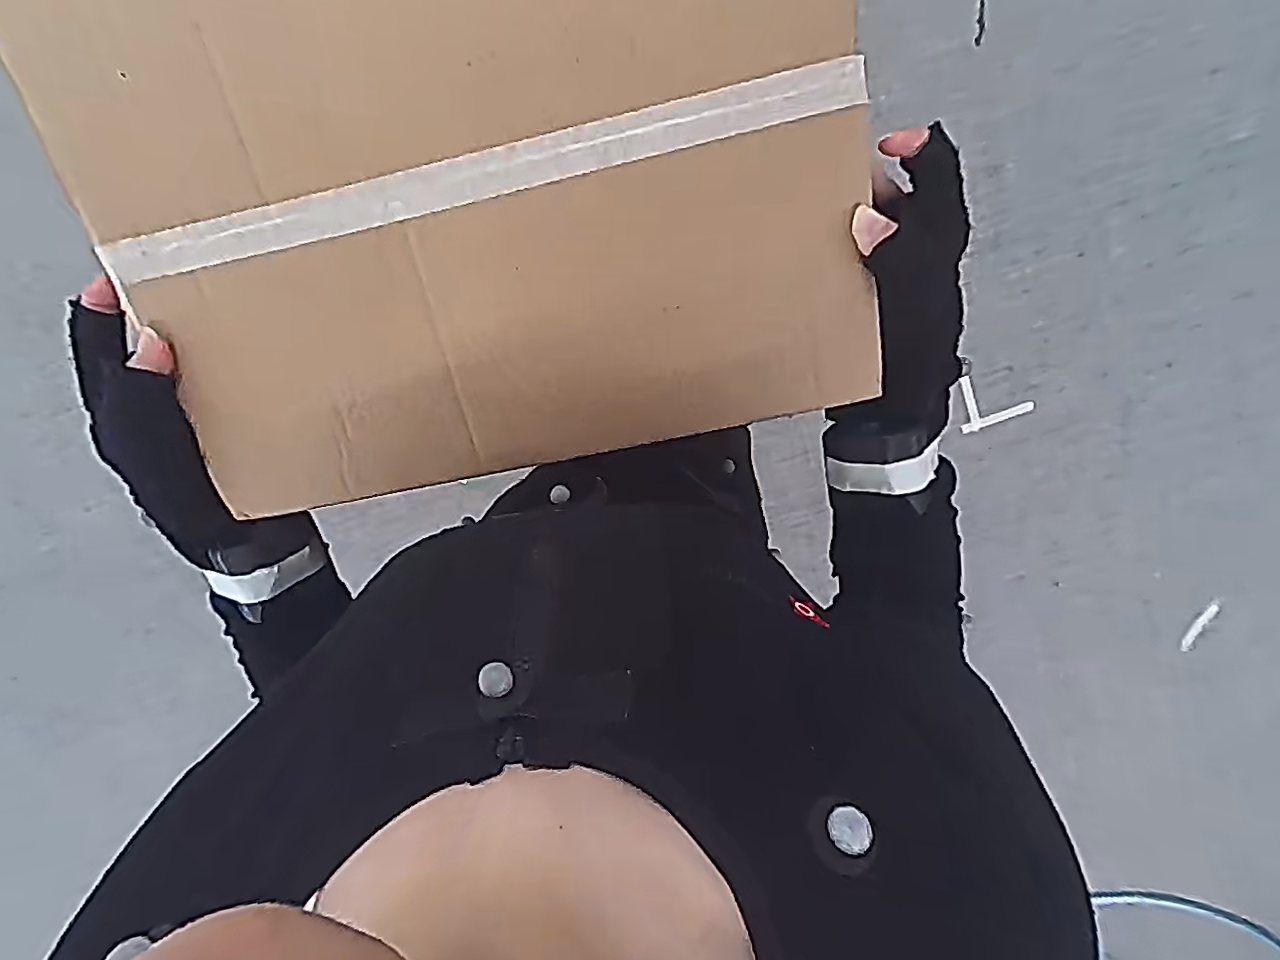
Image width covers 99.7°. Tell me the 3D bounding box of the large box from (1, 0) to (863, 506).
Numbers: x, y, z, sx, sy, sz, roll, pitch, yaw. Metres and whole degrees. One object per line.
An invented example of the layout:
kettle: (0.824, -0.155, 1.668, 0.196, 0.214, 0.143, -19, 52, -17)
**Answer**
large box: (-0.088, -0.213, 0.427, 0.408, 0.320, 0.320, -11, 109, 5)
